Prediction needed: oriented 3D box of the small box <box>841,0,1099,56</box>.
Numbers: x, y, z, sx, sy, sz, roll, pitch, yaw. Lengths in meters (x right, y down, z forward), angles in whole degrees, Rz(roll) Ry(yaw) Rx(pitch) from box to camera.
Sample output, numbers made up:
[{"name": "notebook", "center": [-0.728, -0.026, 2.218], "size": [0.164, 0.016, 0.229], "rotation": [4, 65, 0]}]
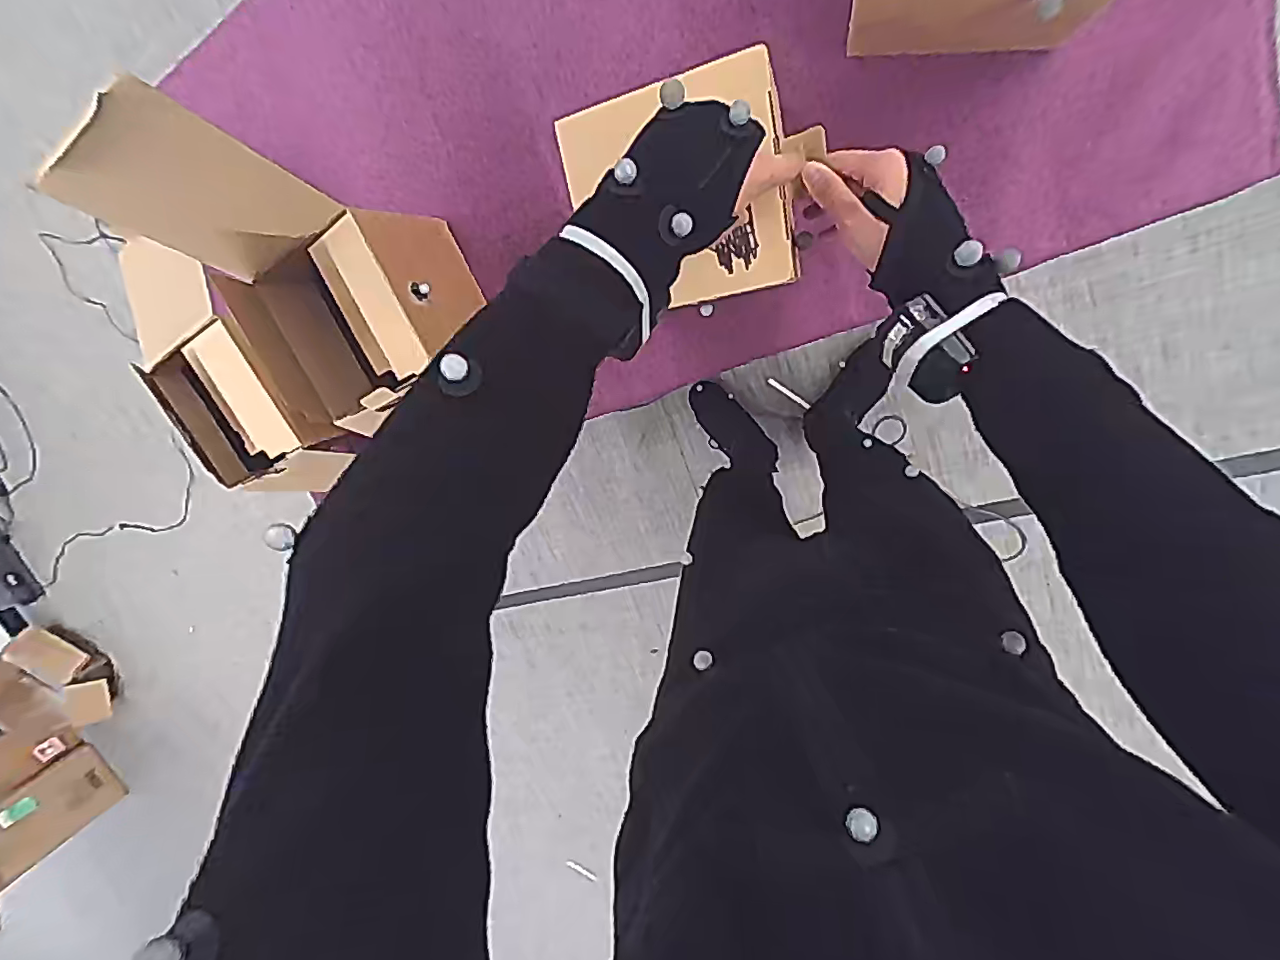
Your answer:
[{"name": "small box", "center": [0.250, -0.424, 0.377], "size": [0.179, 0.176, 0.168], "rotation": [10, 114, 14]}]

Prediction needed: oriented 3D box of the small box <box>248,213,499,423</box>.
[{"name": "small box", "center": [-0.303, -0.194, 0.651], "size": [0.168, 0.176, 0.179], "rotation": [-19, 104, 23]}]
